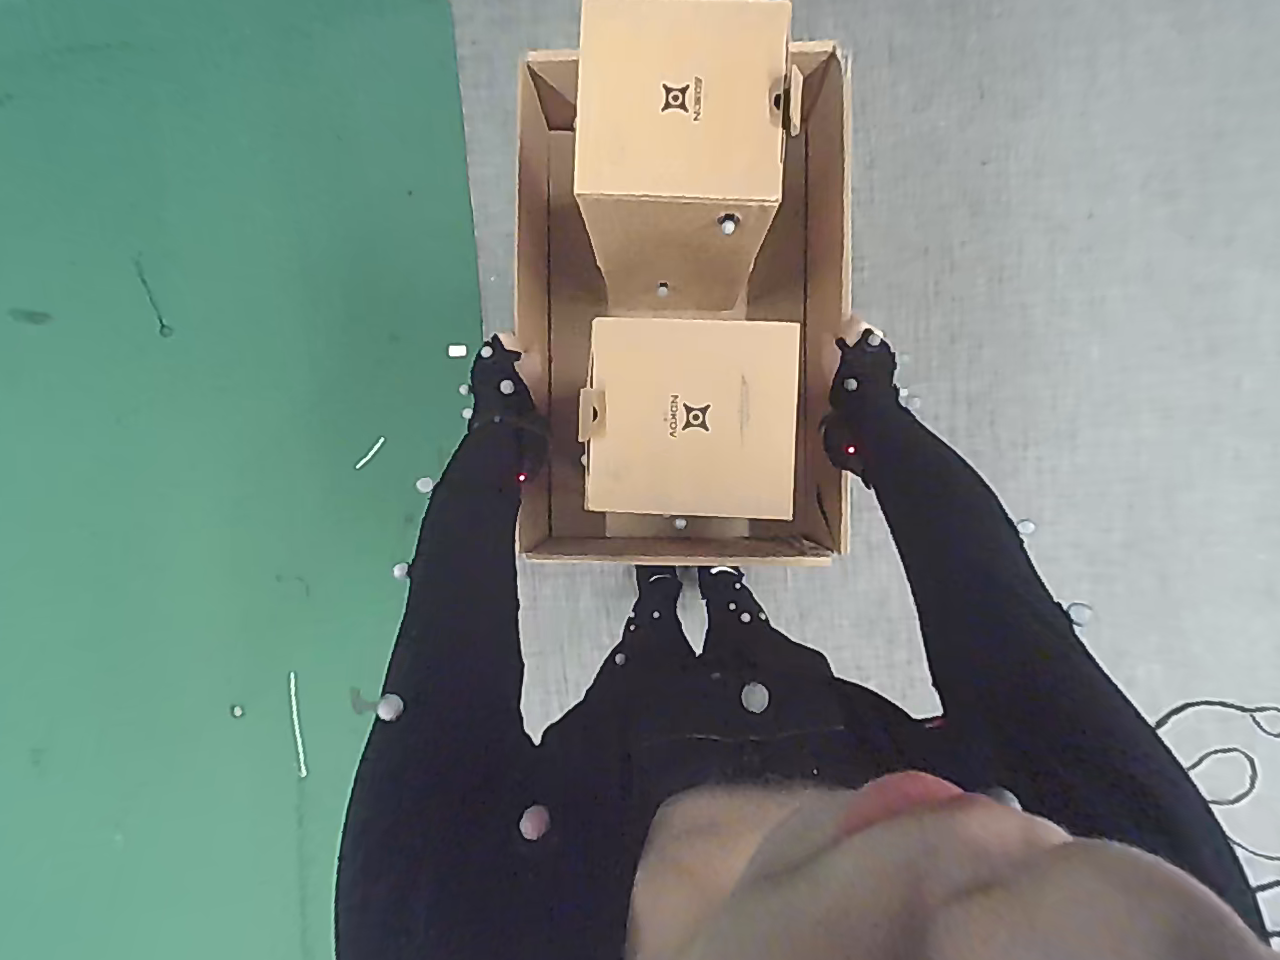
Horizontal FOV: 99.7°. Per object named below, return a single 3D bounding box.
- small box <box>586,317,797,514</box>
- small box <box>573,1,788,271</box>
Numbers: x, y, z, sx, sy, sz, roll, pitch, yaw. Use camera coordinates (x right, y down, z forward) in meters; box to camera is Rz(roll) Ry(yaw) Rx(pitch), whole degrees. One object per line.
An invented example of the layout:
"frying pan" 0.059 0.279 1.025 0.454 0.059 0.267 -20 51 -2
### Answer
"small box" 0.046 -0.056 0.539 0.179 0.176 0.168 2 92 1
"small box" 0.036 -0.318 0.534 0.179 0.176 0.168 2 92 1
